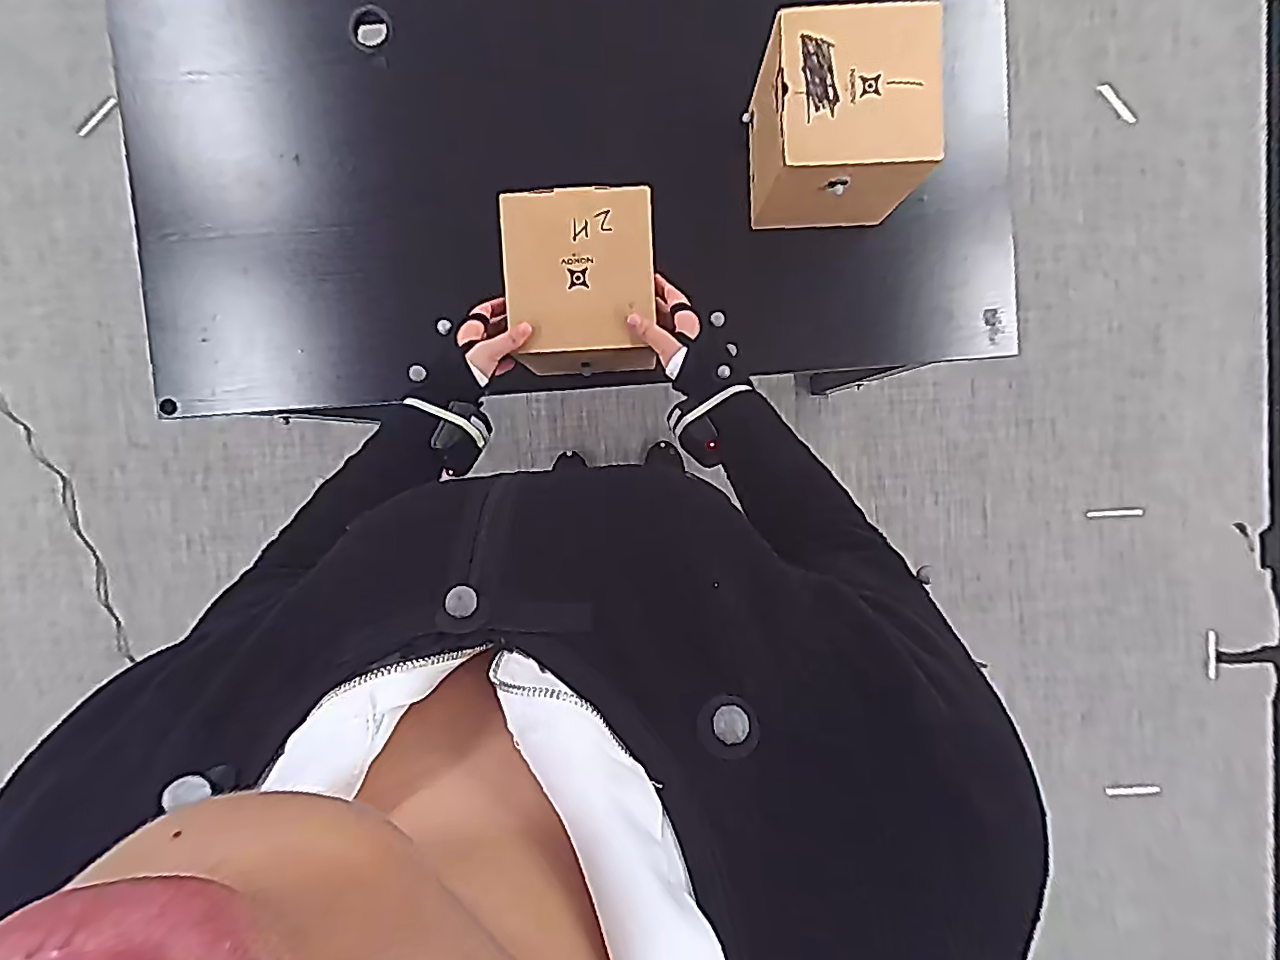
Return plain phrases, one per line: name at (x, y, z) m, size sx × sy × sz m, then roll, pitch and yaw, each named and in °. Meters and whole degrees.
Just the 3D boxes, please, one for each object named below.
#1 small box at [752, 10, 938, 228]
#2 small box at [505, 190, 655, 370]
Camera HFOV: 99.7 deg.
small box at (0.238, -0.427, 0.669) m, size 0.179 × 0.176 × 0.168 m, roll -2°, pitch 93°, yaw 0°
small box at (-0.065, -0.235, 0.680) m, size 0.168 × 0.176 × 0.179 m, roll -2°, pitch 93°, yaw 0°
